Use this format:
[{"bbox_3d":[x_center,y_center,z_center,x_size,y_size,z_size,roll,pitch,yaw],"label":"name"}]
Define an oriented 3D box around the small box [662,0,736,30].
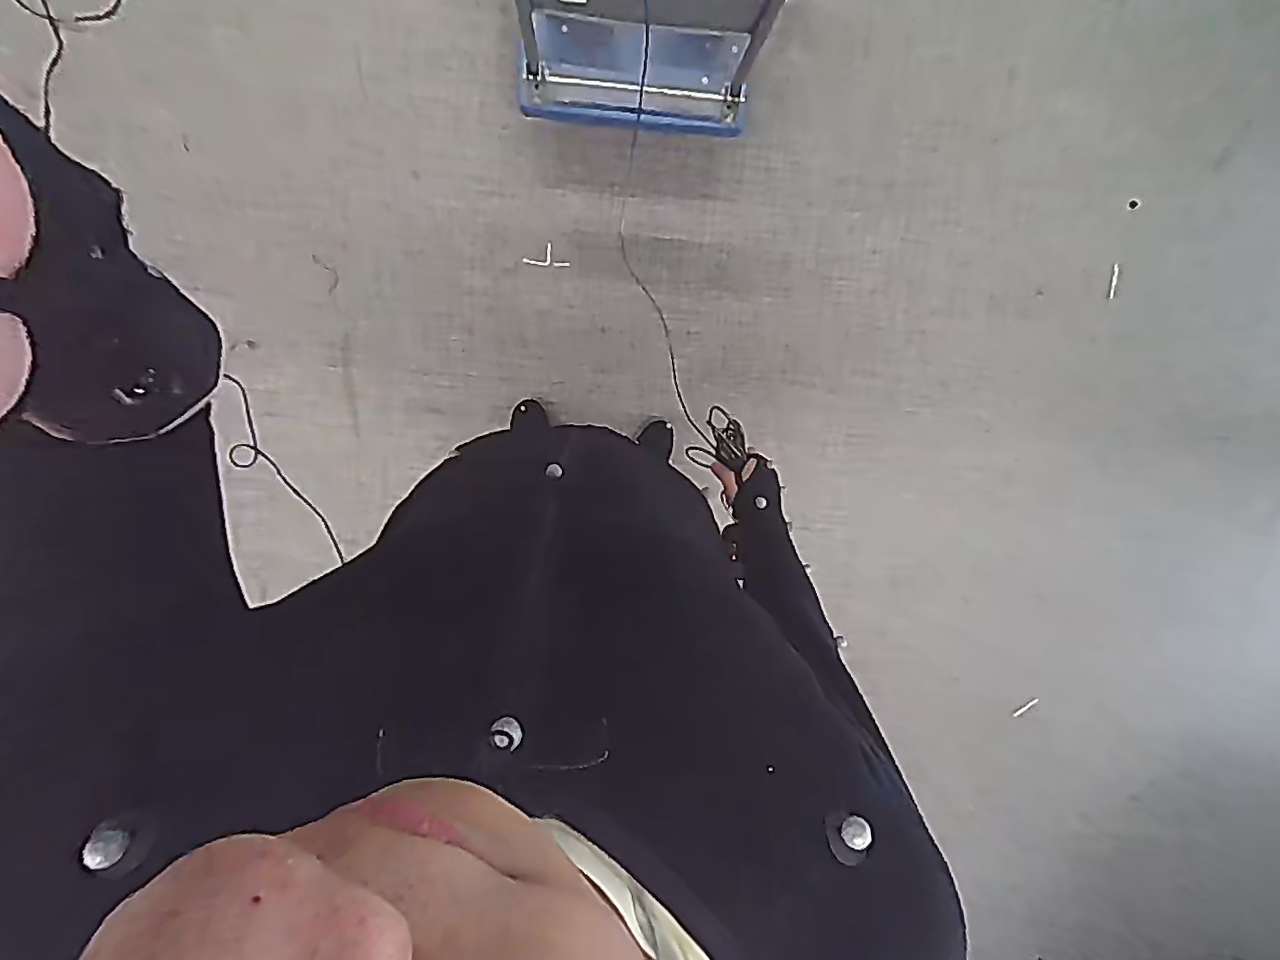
[{"bbox_3d":[0.145,-1.182,1.226,0.168,0.176,0.179,4,98,-5],"label":"small box"}]
